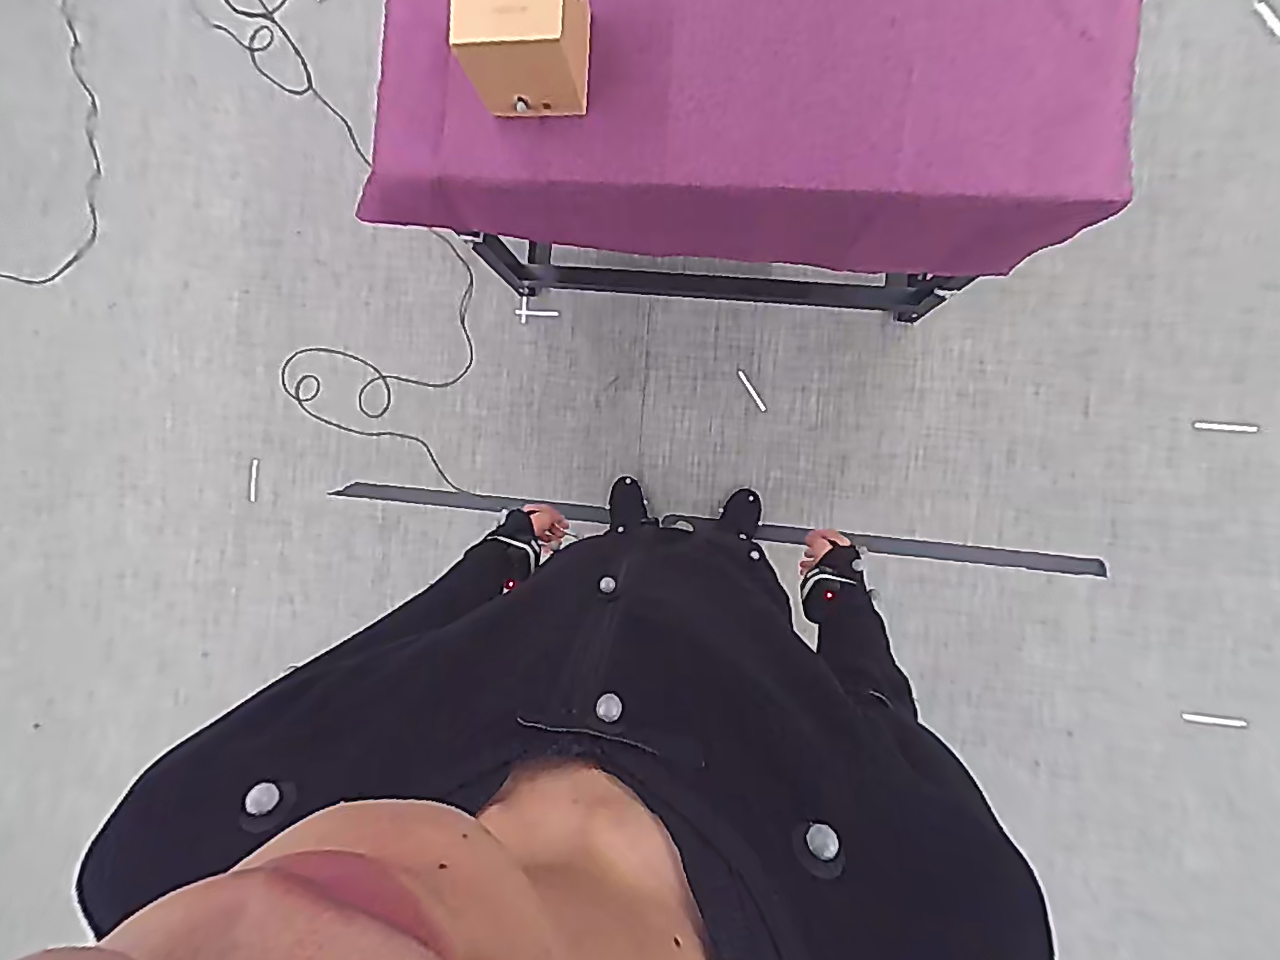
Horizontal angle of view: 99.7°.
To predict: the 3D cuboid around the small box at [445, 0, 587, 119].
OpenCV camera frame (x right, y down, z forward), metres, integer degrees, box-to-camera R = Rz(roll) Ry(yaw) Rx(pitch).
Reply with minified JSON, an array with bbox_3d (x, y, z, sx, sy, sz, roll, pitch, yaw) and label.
[{"bbox_3d":[-0.179,-0.695,0.828,0.168,0.176,0.179,3,91,6],"label":"small box"}]
